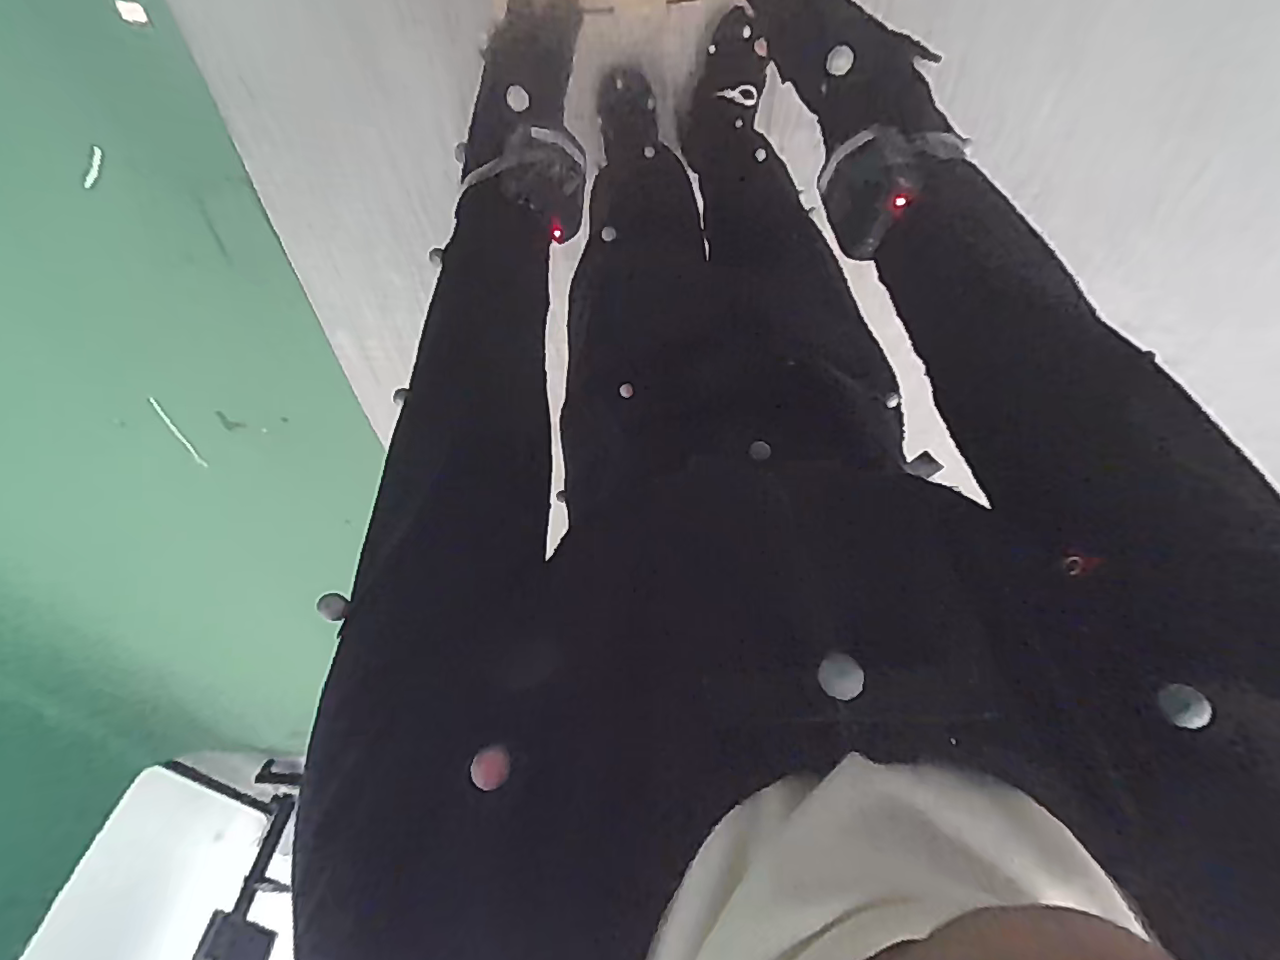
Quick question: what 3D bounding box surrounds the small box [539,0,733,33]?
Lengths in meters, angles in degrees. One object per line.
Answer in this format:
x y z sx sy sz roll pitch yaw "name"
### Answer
-0.004 -0.505 0.447 0.168 0.176 0.179 -1 138 7 "small box"
